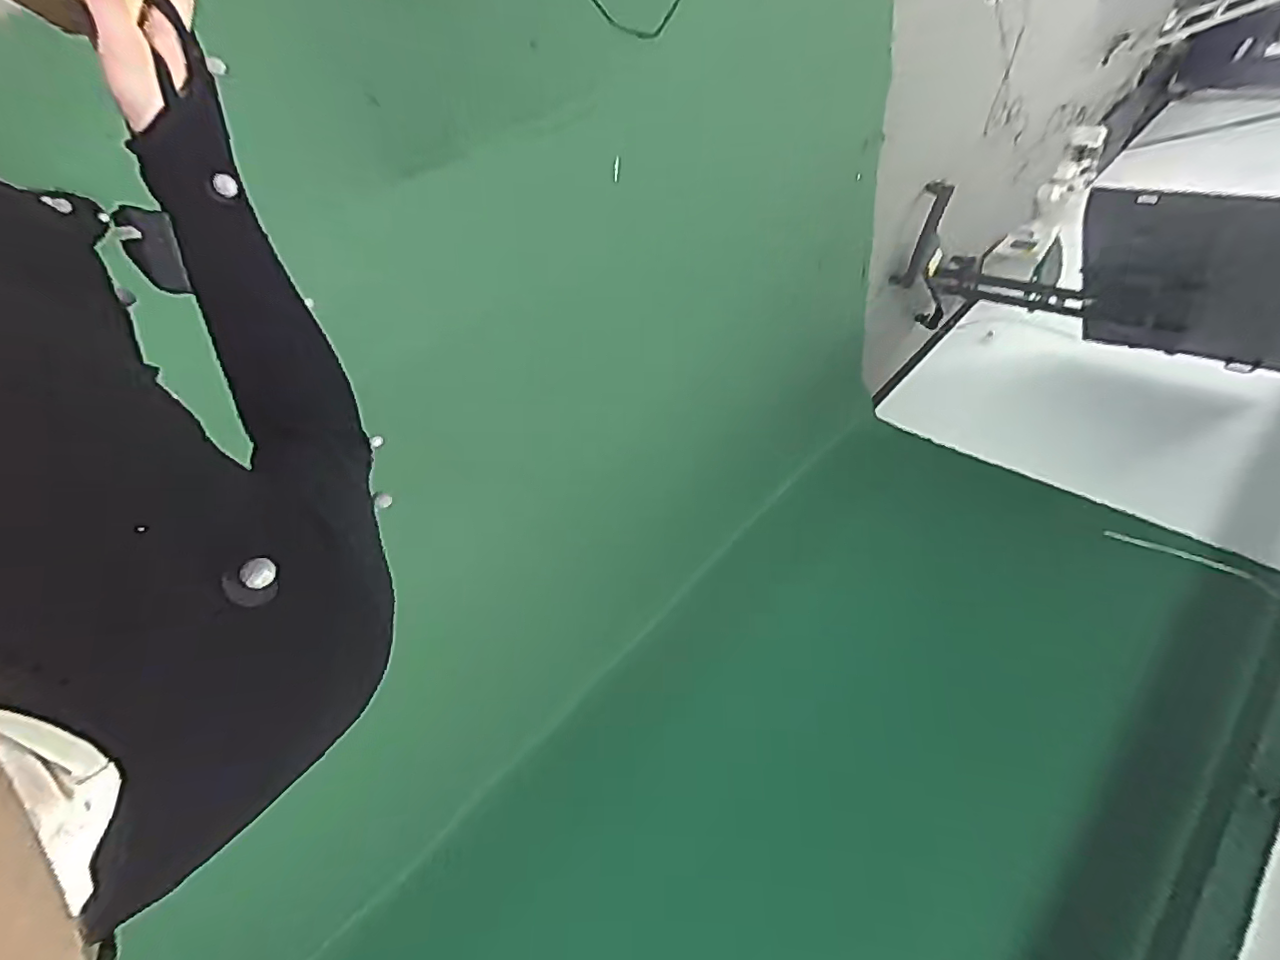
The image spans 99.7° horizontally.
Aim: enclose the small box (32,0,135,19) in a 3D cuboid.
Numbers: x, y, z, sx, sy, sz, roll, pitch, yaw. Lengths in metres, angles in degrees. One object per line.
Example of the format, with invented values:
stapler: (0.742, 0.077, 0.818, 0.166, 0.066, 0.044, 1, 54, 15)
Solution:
small box: (-0.420, -0.436, 0.330, 0.168, 0.176, 0.179, 9, 107, -59)
